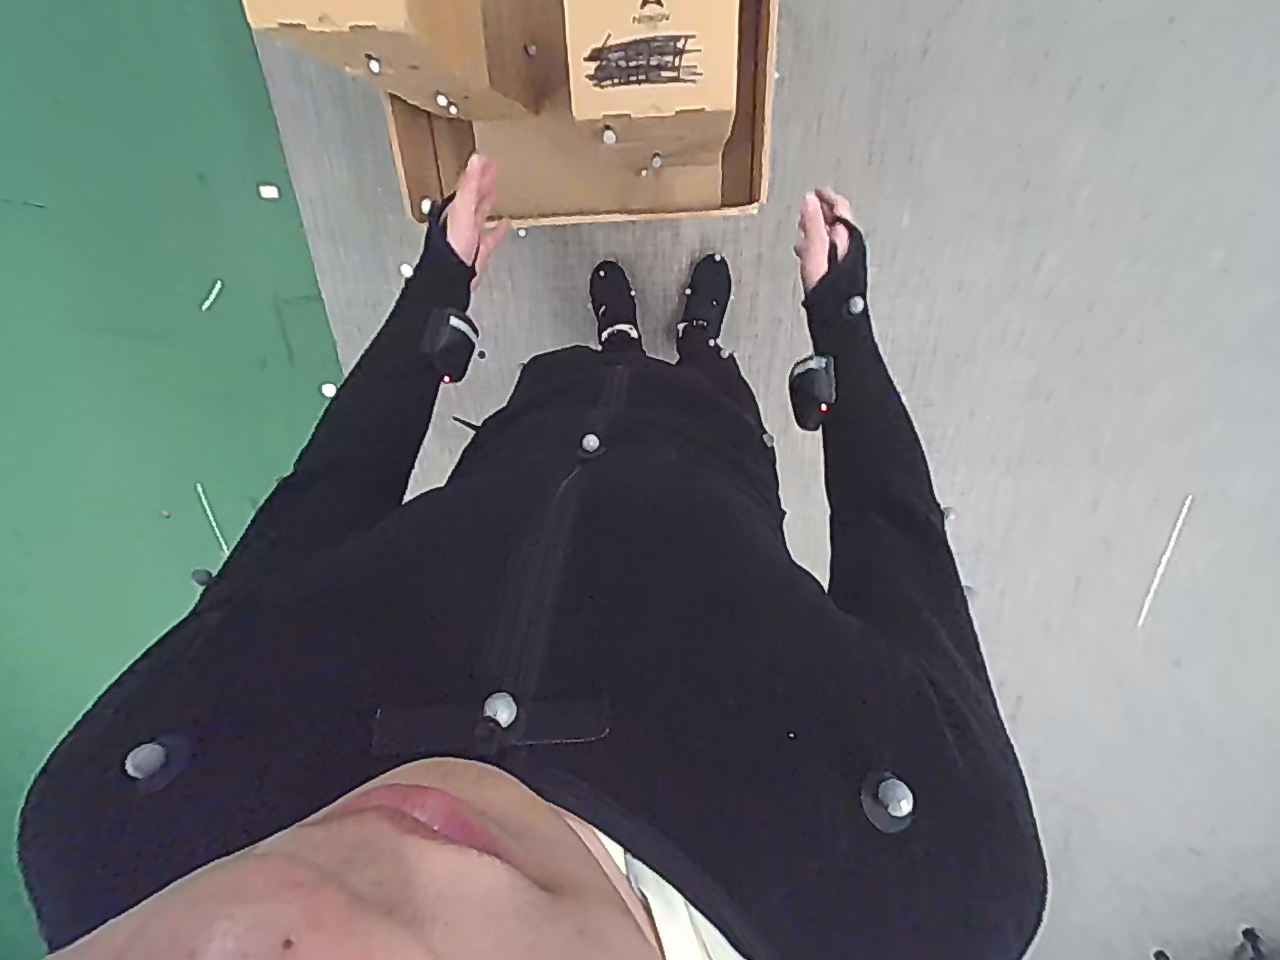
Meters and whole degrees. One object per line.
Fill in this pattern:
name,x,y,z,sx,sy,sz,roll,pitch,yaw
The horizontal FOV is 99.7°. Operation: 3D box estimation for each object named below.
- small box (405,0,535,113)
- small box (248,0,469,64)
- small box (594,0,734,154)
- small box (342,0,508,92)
small box,-0.270,-0.704,0.857,0.168,0.176,0.179,2,115,4
small box,-0.291,-0.566,0.562,0.168,0.176,0.179,5,116,3
small box,0.035,-0.550,0.720,0.168,0.176,0.179,-1,115,6
small box,-0.281,-0.635,0.708,0.168,0.176,0.179,4,116,4
